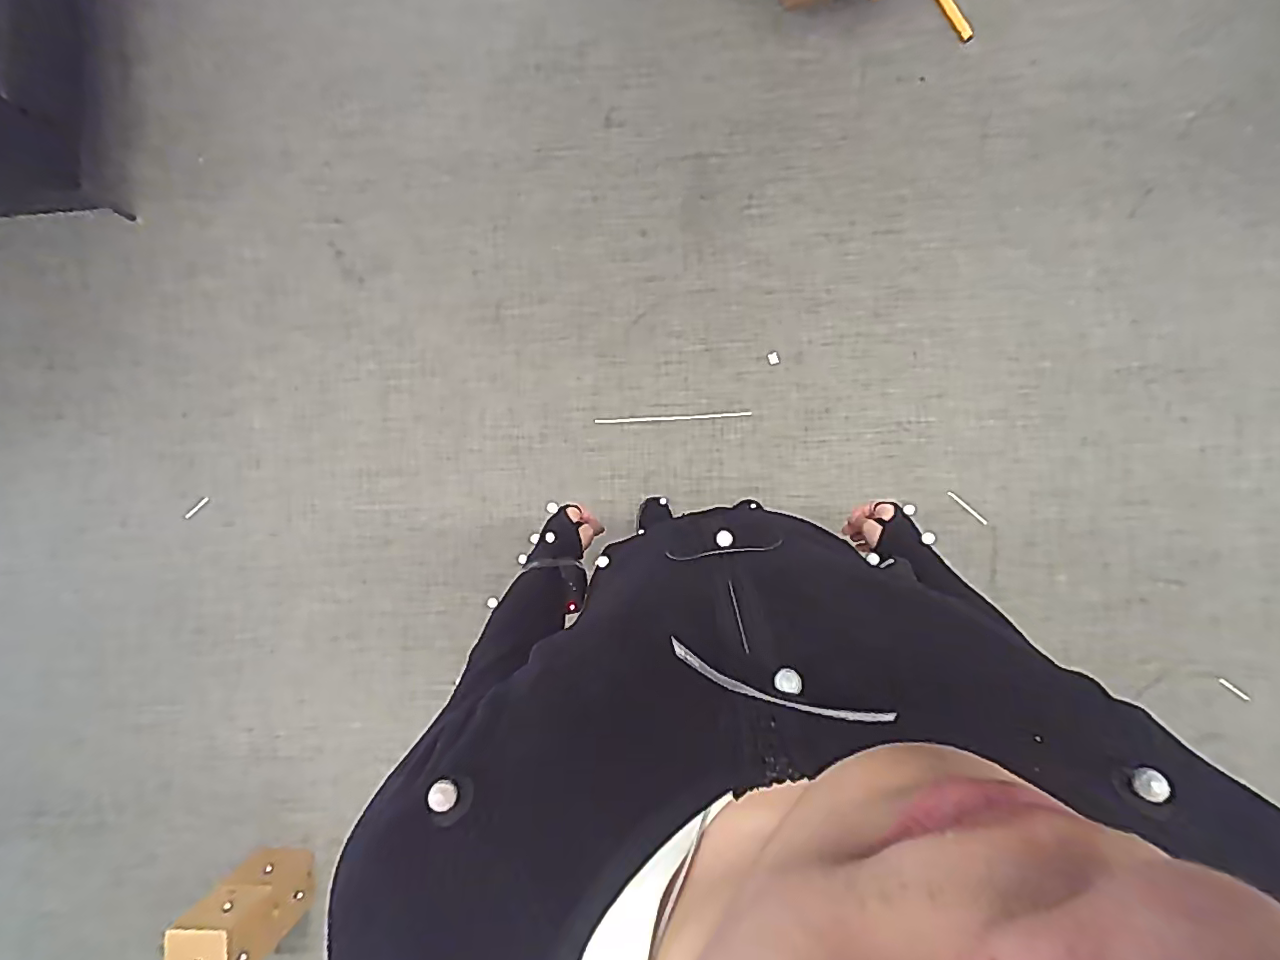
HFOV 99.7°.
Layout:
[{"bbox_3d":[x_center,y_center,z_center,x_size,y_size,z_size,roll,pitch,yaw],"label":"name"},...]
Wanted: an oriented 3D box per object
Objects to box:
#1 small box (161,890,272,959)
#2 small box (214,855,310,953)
[{"bbox_3d":[-1.101,1.217,1.415,0.168,0.176,0.179,-2,88,4],"label":"small box"},{"bbox_3d":[-1.097,1.230,1.577,0.179,0.176,0.168,-1,86,3],"label":"small box"}]
